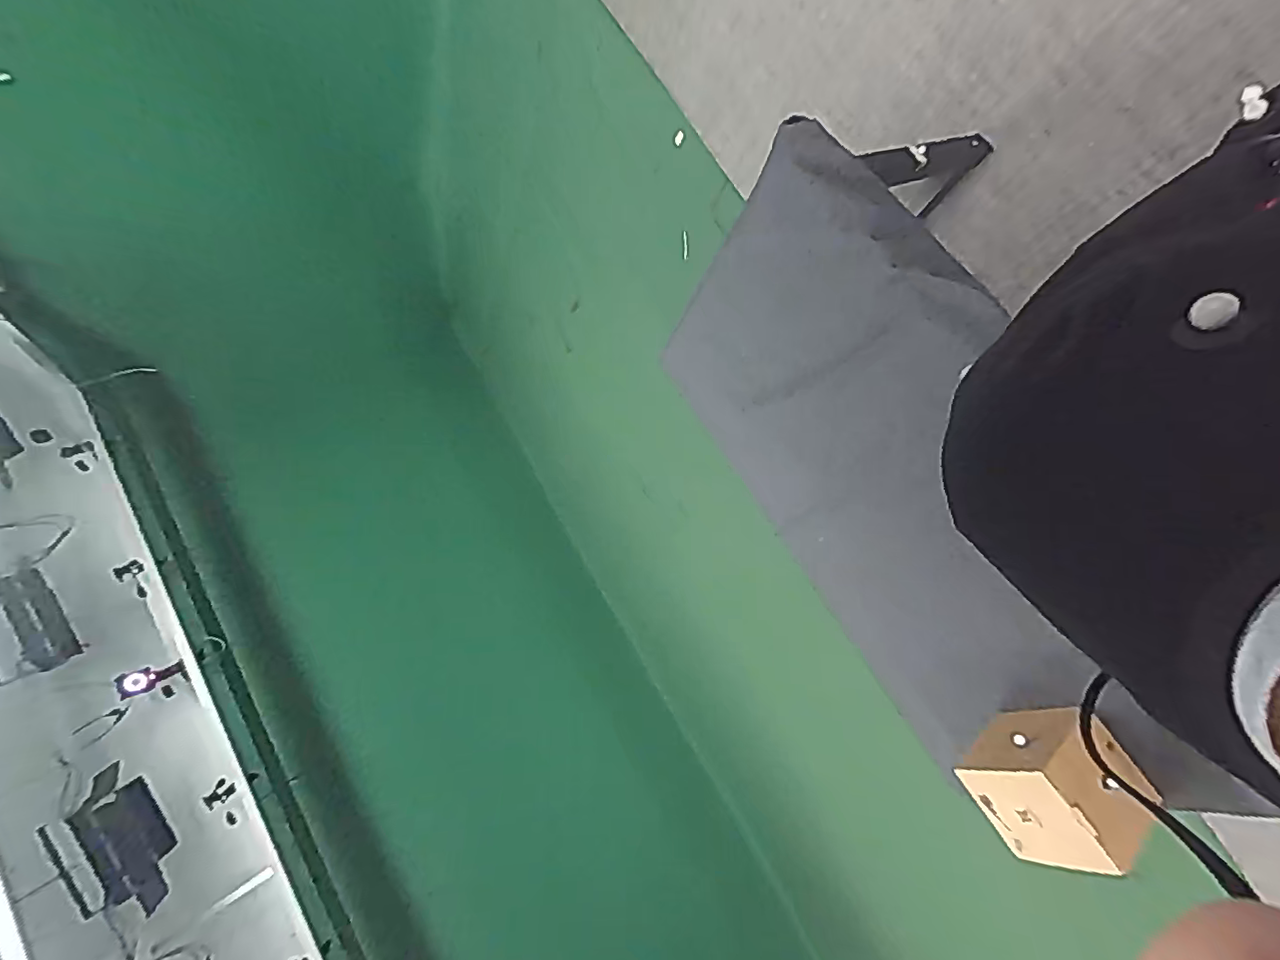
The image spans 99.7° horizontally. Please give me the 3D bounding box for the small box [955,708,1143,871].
[{"bbox_3d":[0.686,0.504,0.906,0.168,0.176,0.179,56,149,13],"label":"small box"}]
